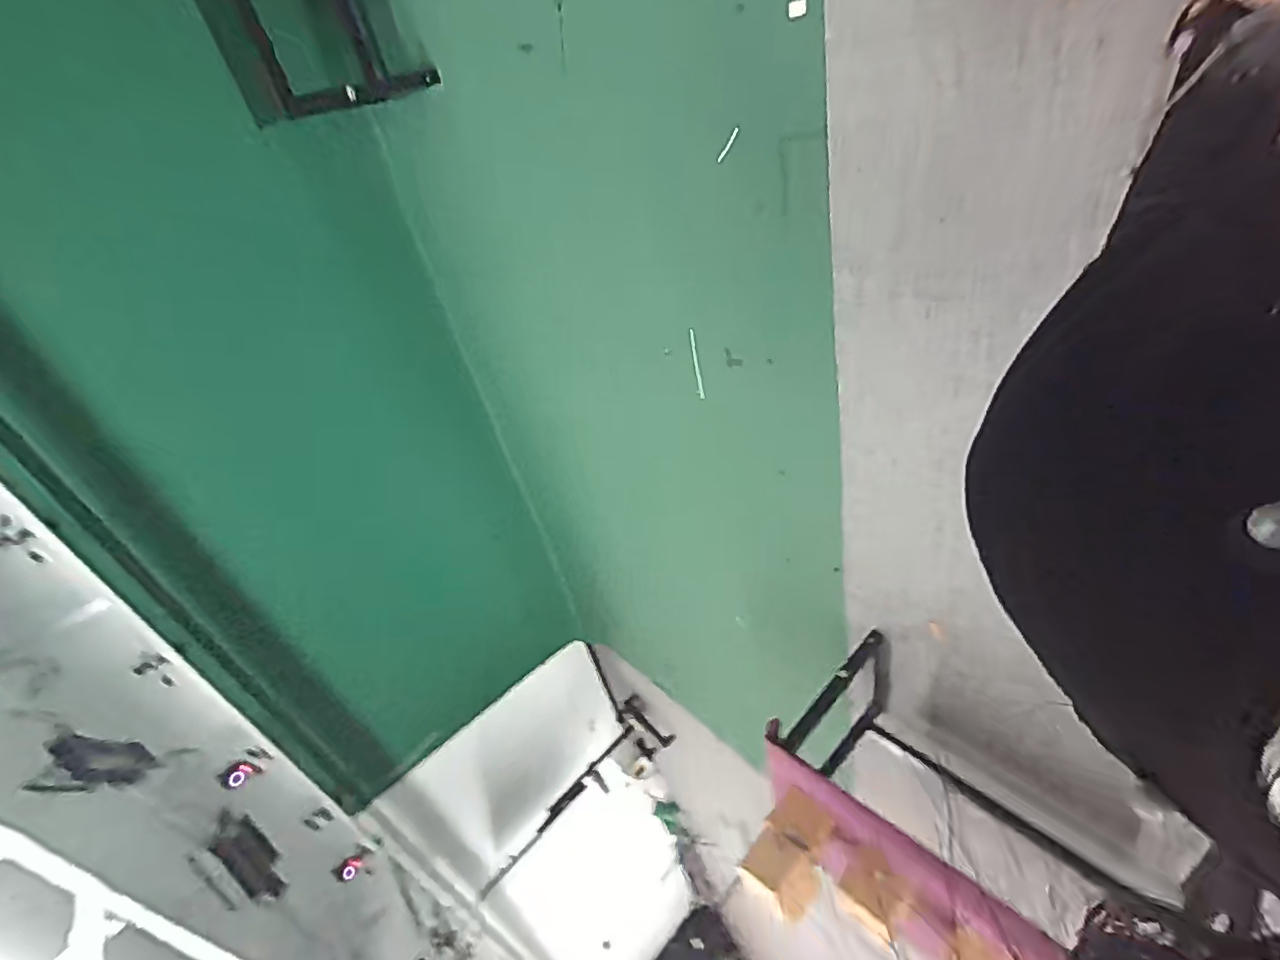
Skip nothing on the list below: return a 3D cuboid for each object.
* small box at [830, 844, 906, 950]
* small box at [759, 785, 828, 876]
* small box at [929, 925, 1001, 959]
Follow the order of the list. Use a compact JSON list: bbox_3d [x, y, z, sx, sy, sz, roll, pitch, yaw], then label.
[{"bbox_3d":[0.726,1.318,1.716,0.168,0.176,0.179,20,135,46],"label":"small box"},{"bbox_3d":[0.542,1.221,1.891,0.179,0.176,0.168,25,140,42],"label":"small box"},{"bbox_3d":[0.918,1.396,1.513,0.168,0.176,0.179,34,146,33],"label":"small box"}]
